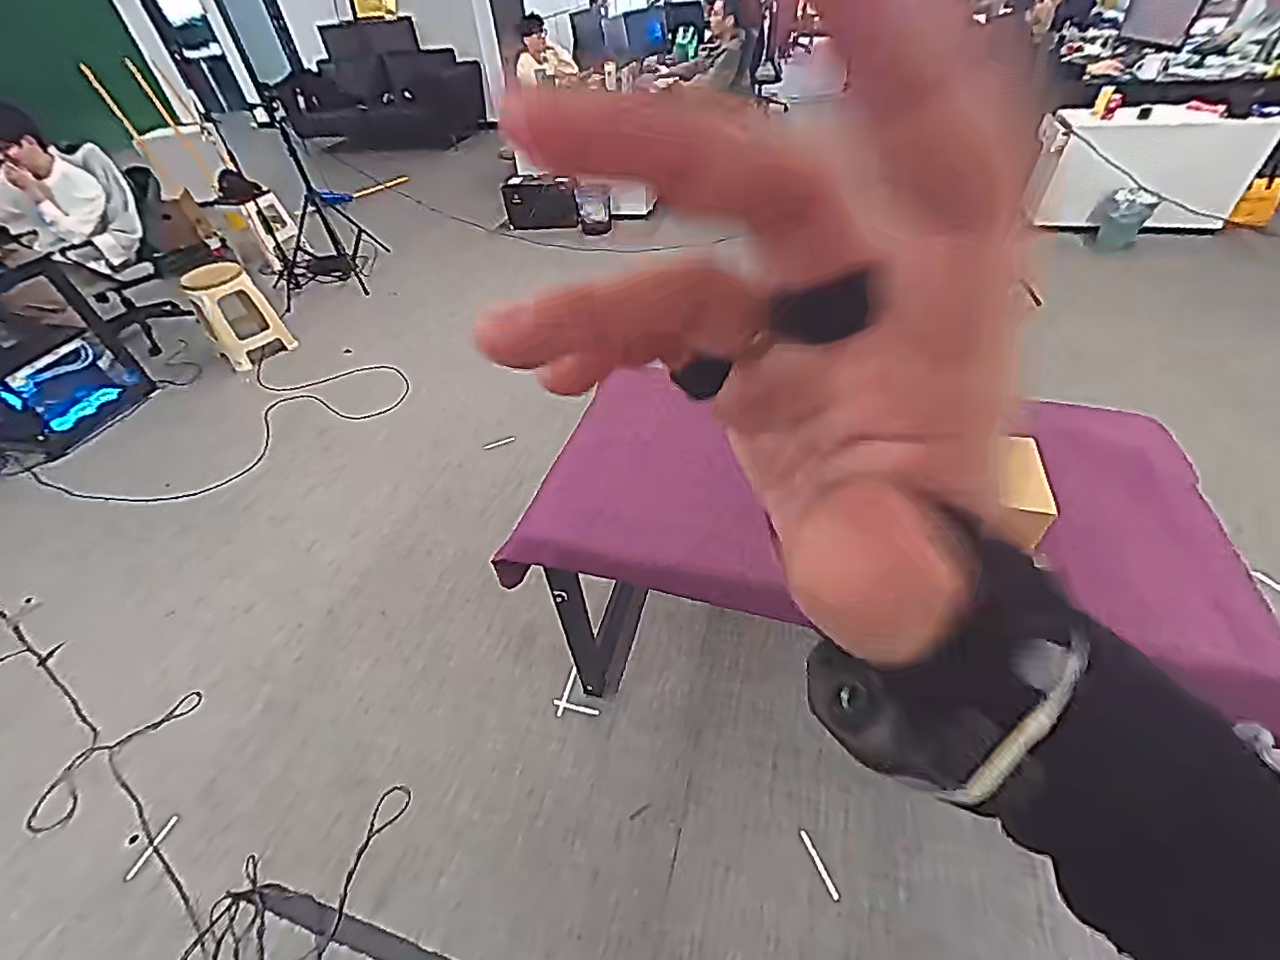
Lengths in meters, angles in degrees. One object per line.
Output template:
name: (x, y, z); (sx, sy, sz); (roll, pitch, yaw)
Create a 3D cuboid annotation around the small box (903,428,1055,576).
small box: (0.555, 0.037, 0.912); (0.168, 0.176, 0.179); (9, 45, 15)
